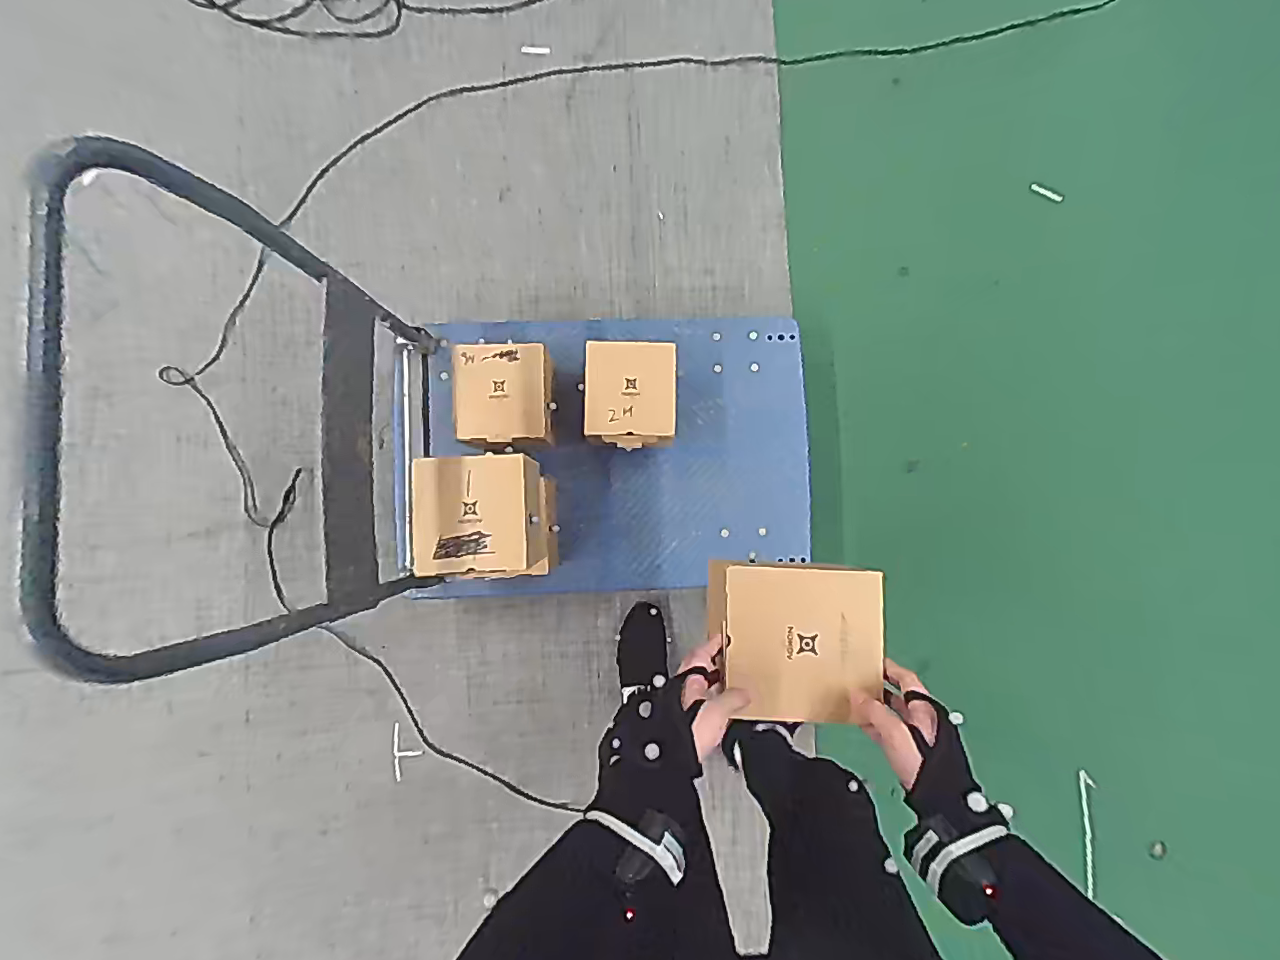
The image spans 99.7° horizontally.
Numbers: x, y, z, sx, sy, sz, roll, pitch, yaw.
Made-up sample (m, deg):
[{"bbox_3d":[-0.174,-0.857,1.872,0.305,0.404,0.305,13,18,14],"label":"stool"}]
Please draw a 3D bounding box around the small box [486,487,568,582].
[{"bbox_3d":[-0.259,0.077,1.048,0.179,0.176,0.168,29,88,0],"label":"small box"}]

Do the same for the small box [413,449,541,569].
[{"bbox_3d":[-0.254,0.045,0.877,0.168,0.176,0.179,-2,87,-3],"label":"small box"}]

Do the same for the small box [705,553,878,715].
[{"bbox_3d":[0.177,0.178,0.676,0.179,0.176,0.168,3,84,1],"label":"small box"}]

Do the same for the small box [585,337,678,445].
[{"bbox_3d":[-0.018,-0.167,1.060,0.168,0.176,0.179,2,87,-1],"label":"small box"}]
